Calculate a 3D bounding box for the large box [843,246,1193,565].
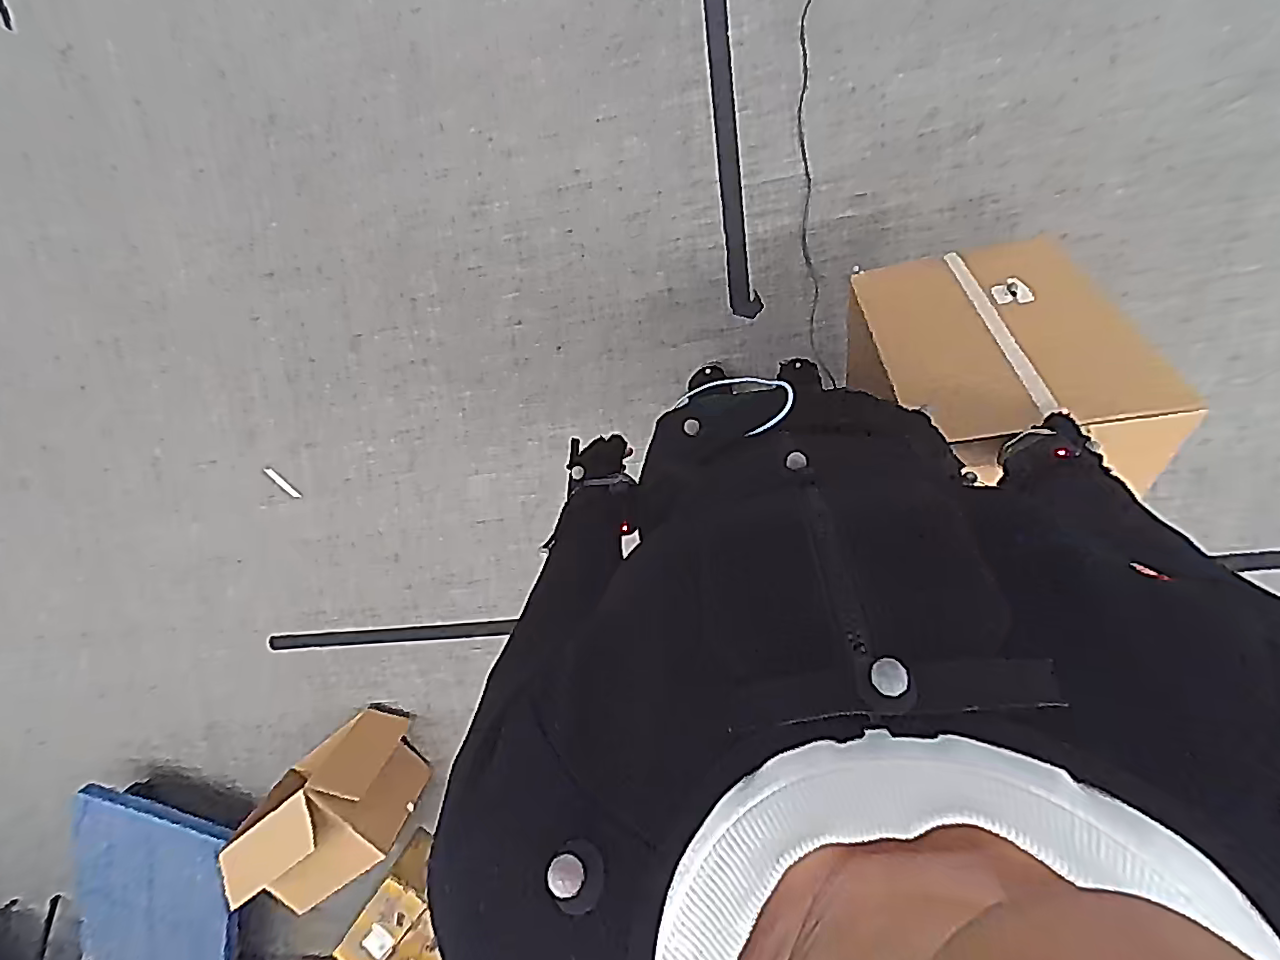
[{"bbox_3d":[0.543,-0.119,0.899,0.320,0.408,0.320,-7,139,10],"label":"large box"}]
